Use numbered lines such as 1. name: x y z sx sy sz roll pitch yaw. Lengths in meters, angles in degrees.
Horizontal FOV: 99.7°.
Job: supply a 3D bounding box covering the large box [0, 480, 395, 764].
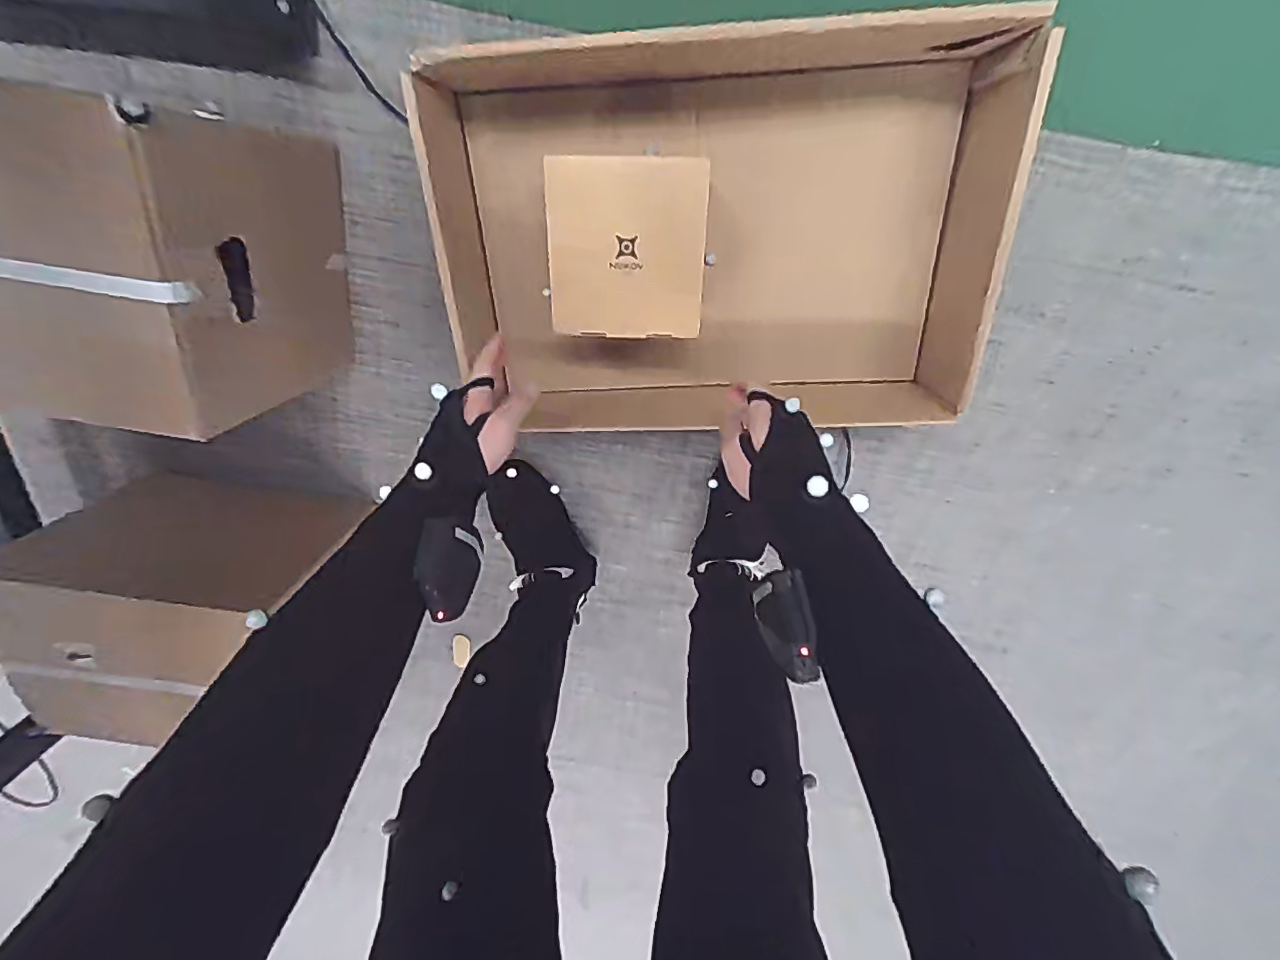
1. large box: -0.688 0.217 0.905 0.408 0.320 0.320 7 115 1
